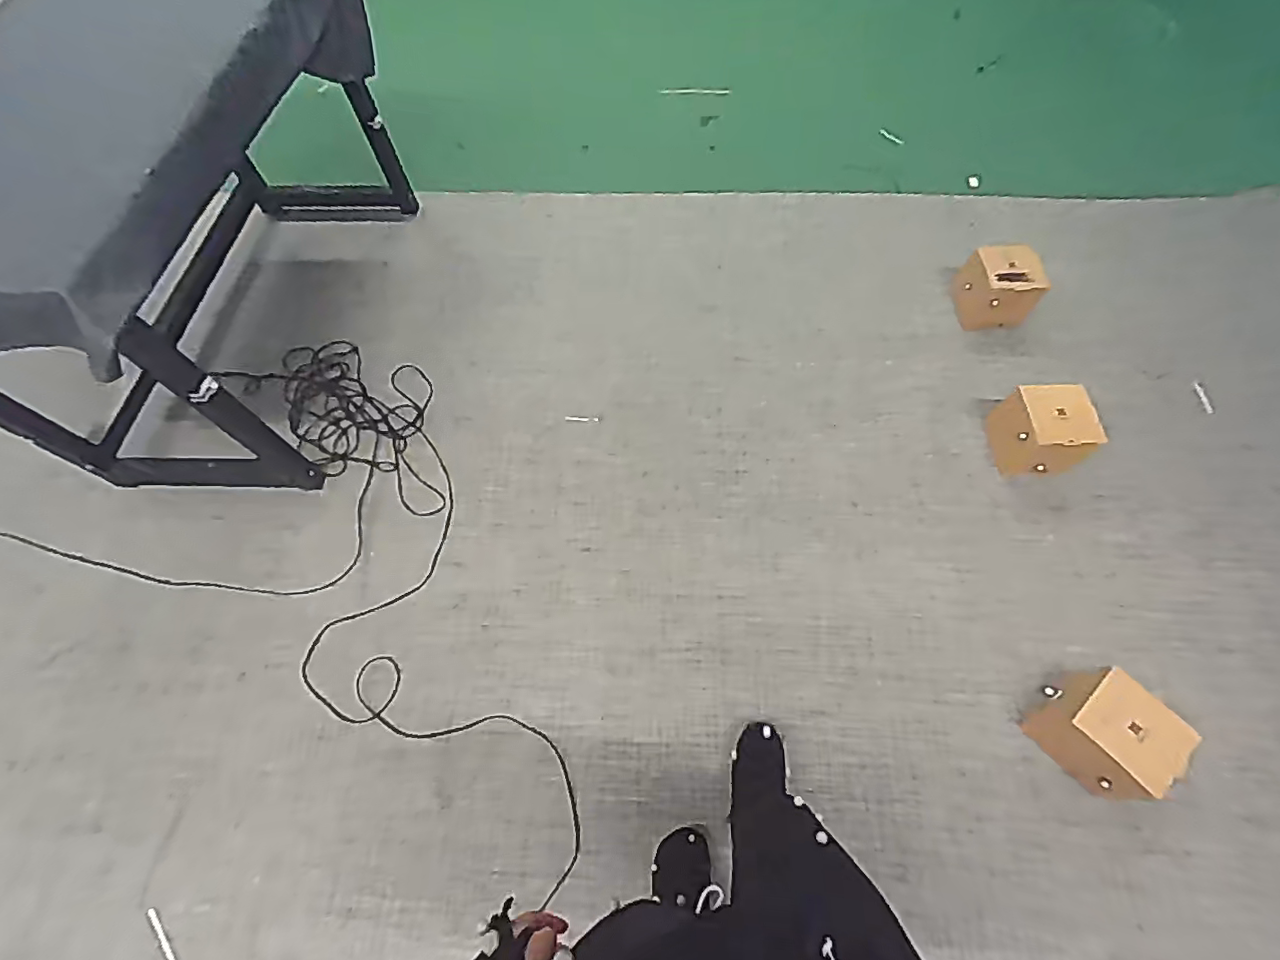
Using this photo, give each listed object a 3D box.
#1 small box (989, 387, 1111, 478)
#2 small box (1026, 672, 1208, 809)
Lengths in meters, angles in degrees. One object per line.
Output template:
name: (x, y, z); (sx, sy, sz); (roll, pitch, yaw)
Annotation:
small box: (1.040, -0.120, 1.393); (0.168, 0.176, 0.179); (-1, 63, 1)
small box: (0.932, 0.512, 1.074); (0.168, 0.176, 0.179); (-37, 67, -17)
